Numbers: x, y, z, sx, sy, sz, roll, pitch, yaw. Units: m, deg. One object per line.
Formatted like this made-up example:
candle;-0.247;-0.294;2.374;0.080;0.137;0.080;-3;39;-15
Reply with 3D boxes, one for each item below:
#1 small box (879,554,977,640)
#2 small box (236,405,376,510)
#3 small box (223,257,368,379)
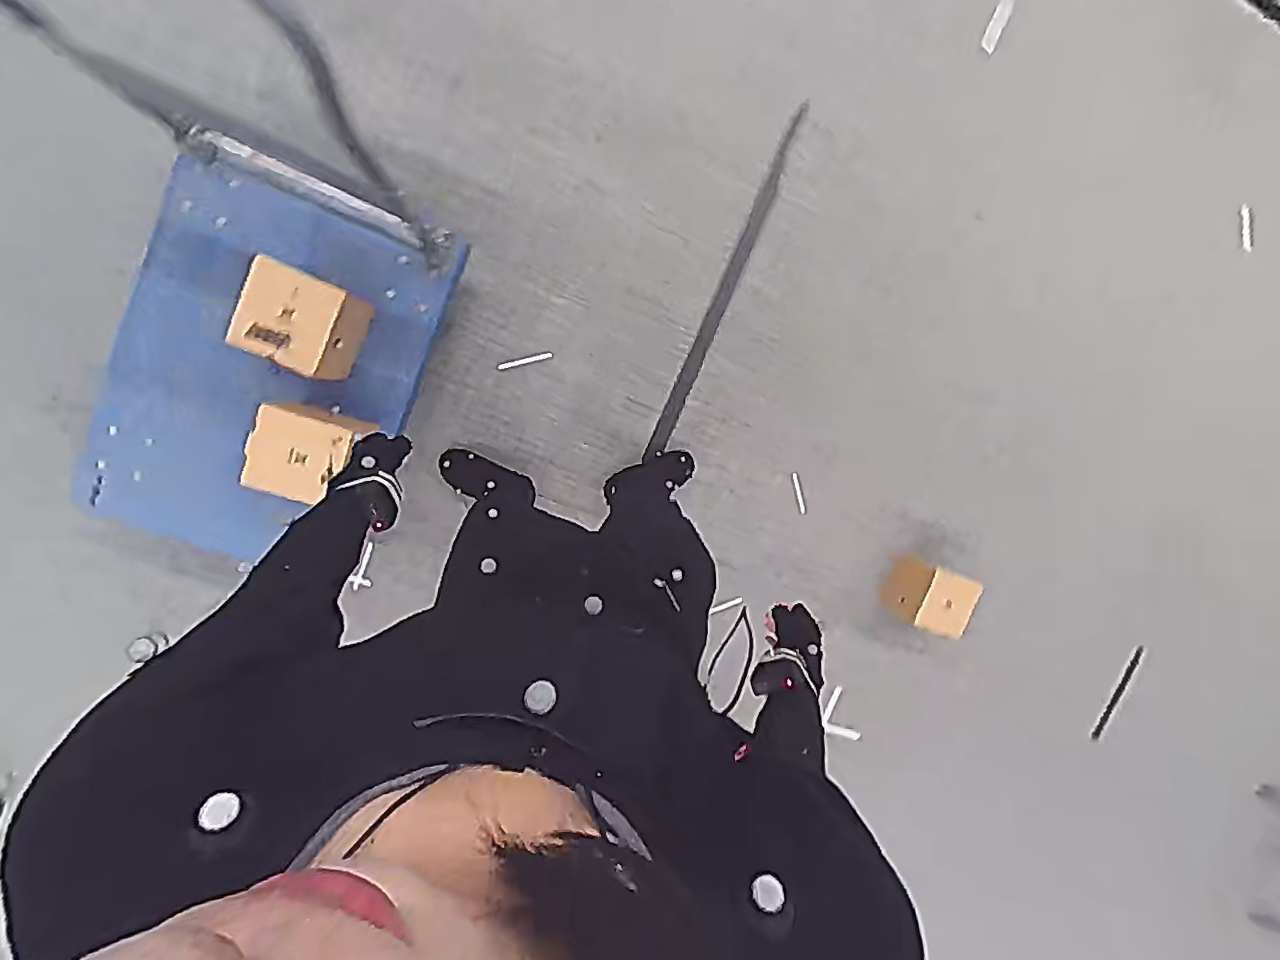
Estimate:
small box;0.847;0.344;1.614;0.168;0.176;0.179;18;95;-11
small box;-0.690;-0.052;1.136;0.179;0.176;0.168;18;96;-9
small box;-0.684;-0.314;1.095;0.168;0.176;0.179;24;94;-11
